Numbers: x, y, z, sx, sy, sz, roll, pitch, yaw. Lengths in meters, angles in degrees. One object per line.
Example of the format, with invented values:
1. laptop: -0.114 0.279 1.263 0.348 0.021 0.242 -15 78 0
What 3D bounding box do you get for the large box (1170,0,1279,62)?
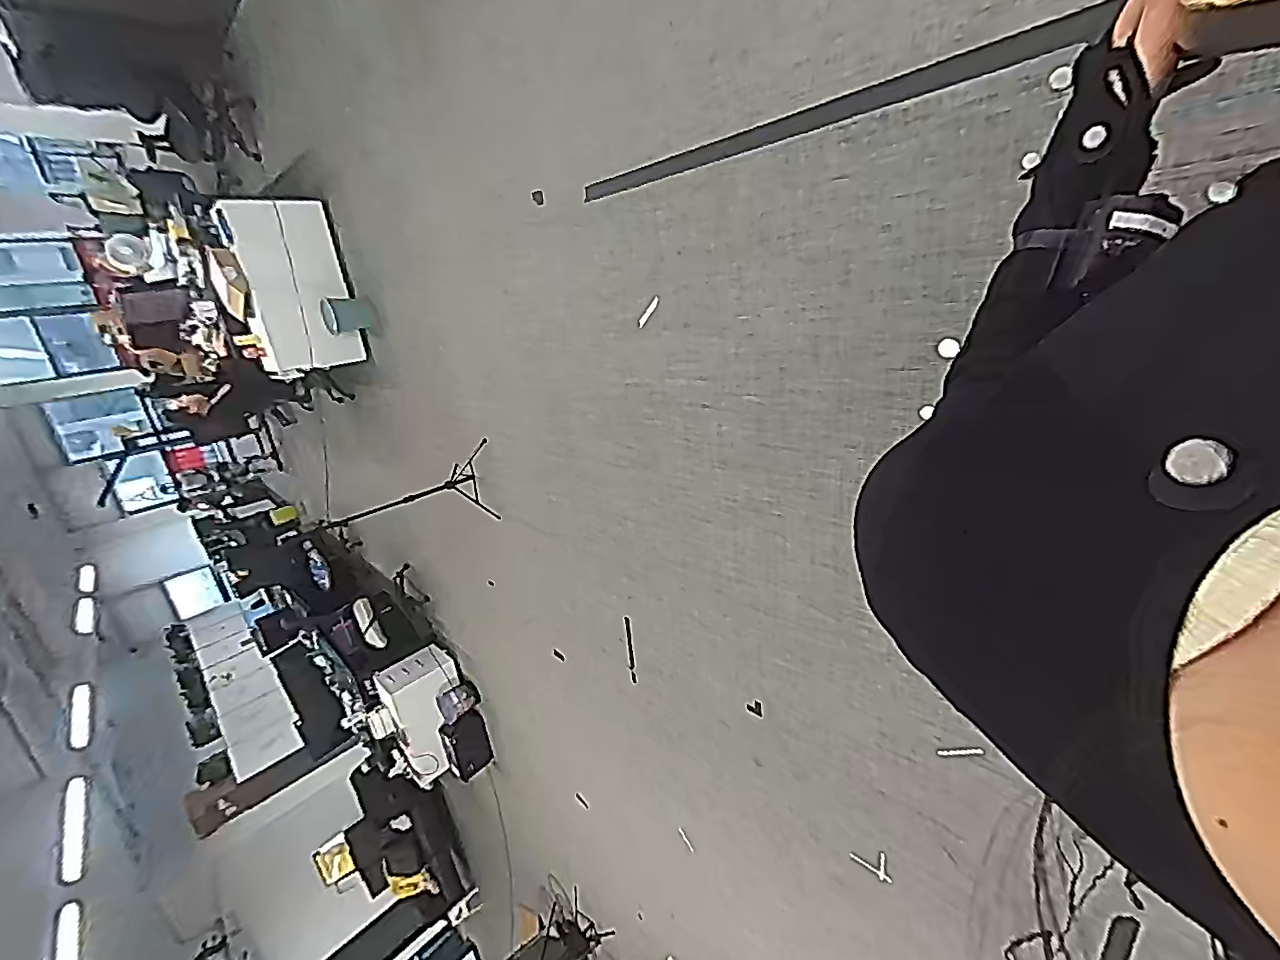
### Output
1. large box: 0.423 -0.326 0.105 0.408 0.320 0.320 16 127 36
